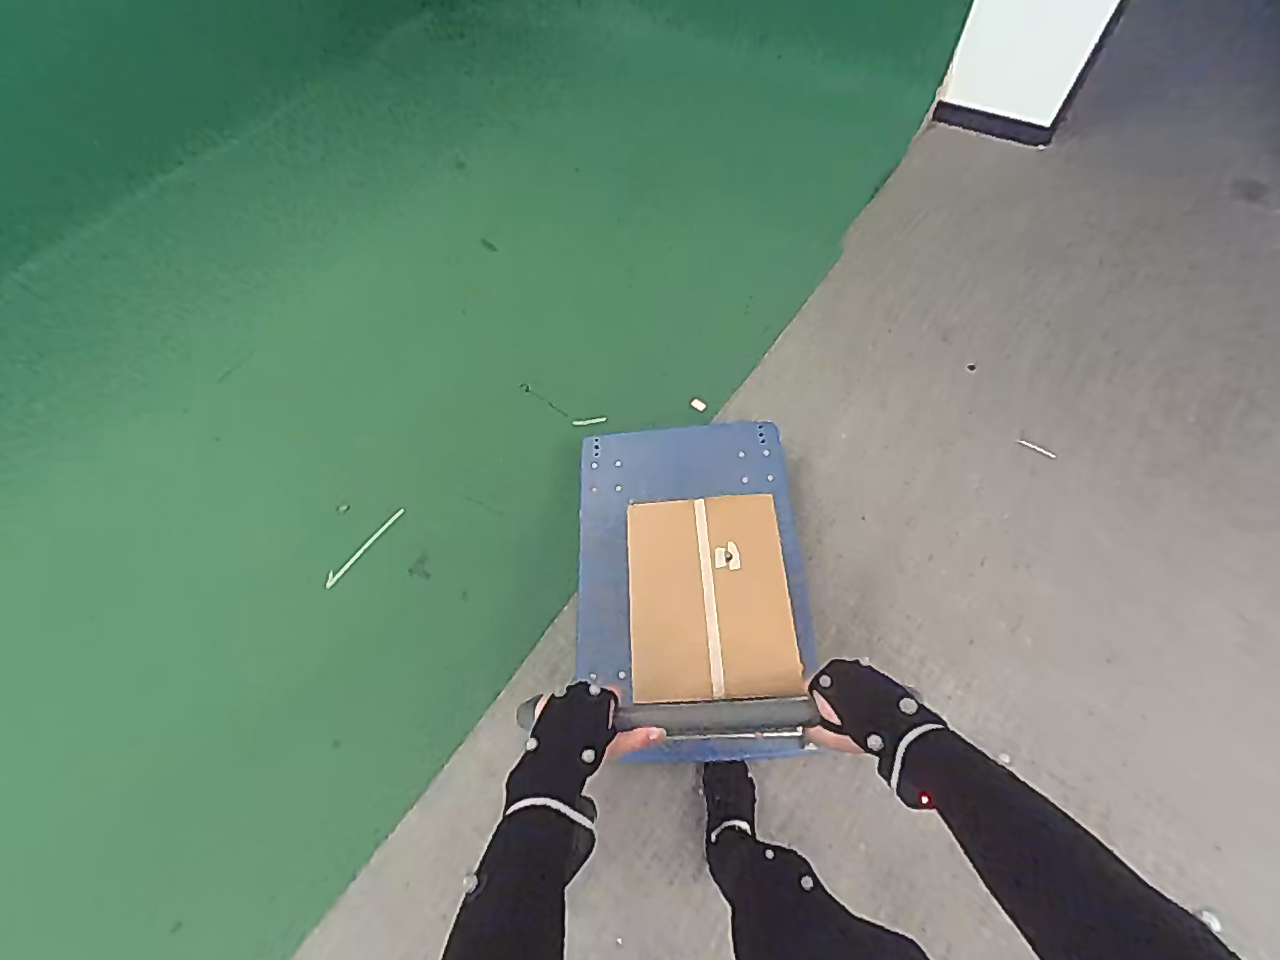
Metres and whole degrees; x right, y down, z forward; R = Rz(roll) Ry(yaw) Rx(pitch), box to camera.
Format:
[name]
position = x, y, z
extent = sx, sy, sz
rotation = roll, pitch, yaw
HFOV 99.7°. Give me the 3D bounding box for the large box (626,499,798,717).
[large box]
position = 0.146, 0.298, 1.221
extent = 0.320, 0.320, 0.408
rotation = -4, 62, 3
